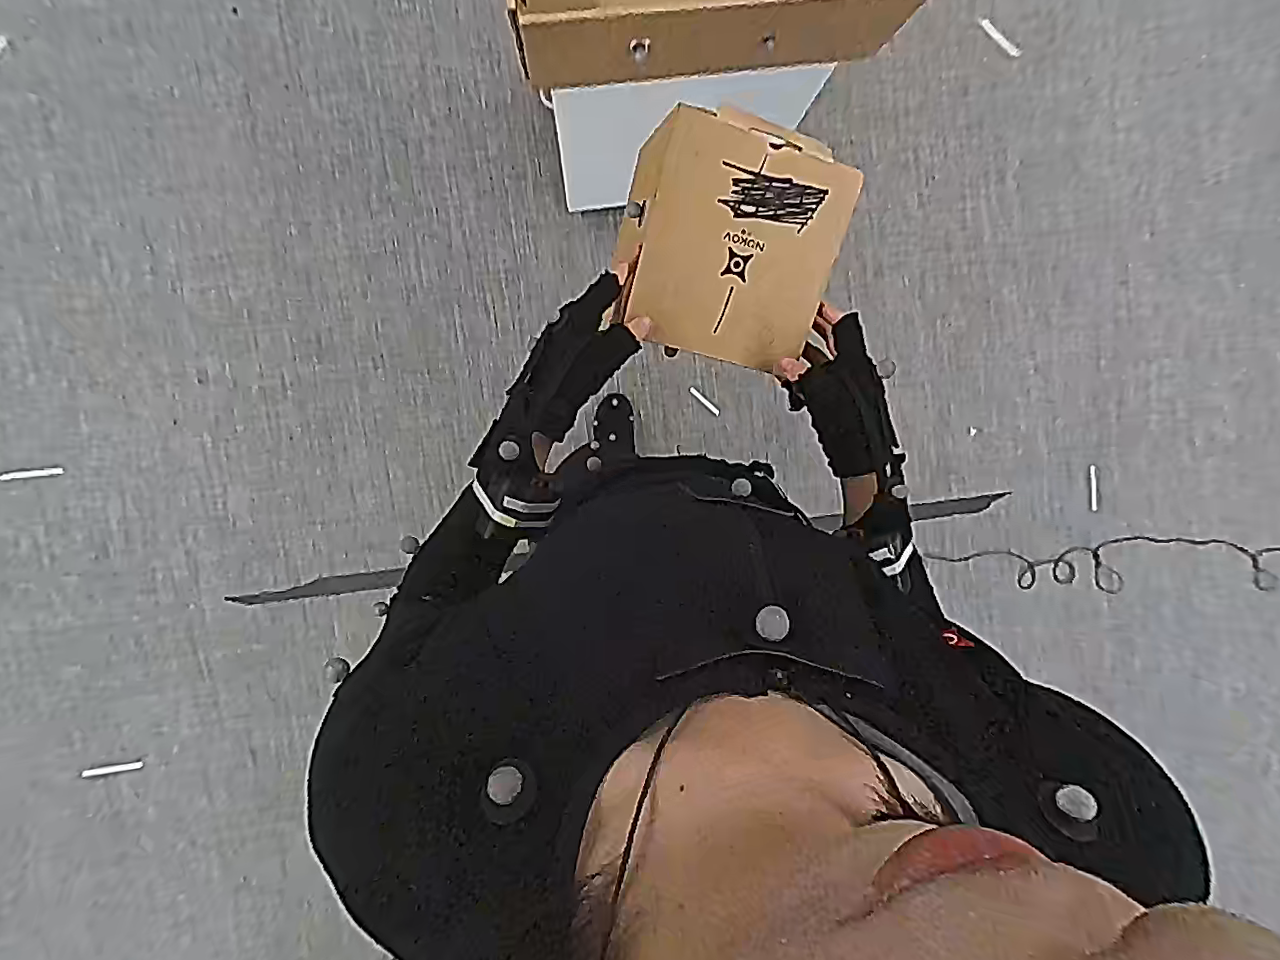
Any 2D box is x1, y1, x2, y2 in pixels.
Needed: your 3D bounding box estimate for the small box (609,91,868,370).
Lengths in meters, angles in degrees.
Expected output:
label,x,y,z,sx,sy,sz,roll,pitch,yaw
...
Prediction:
label,x,y,z,sx,sy,sz,roll,pitch,yaw
small box,0.073,-0.221,0.516,0.168,0.176,0.179,12,109,-14
